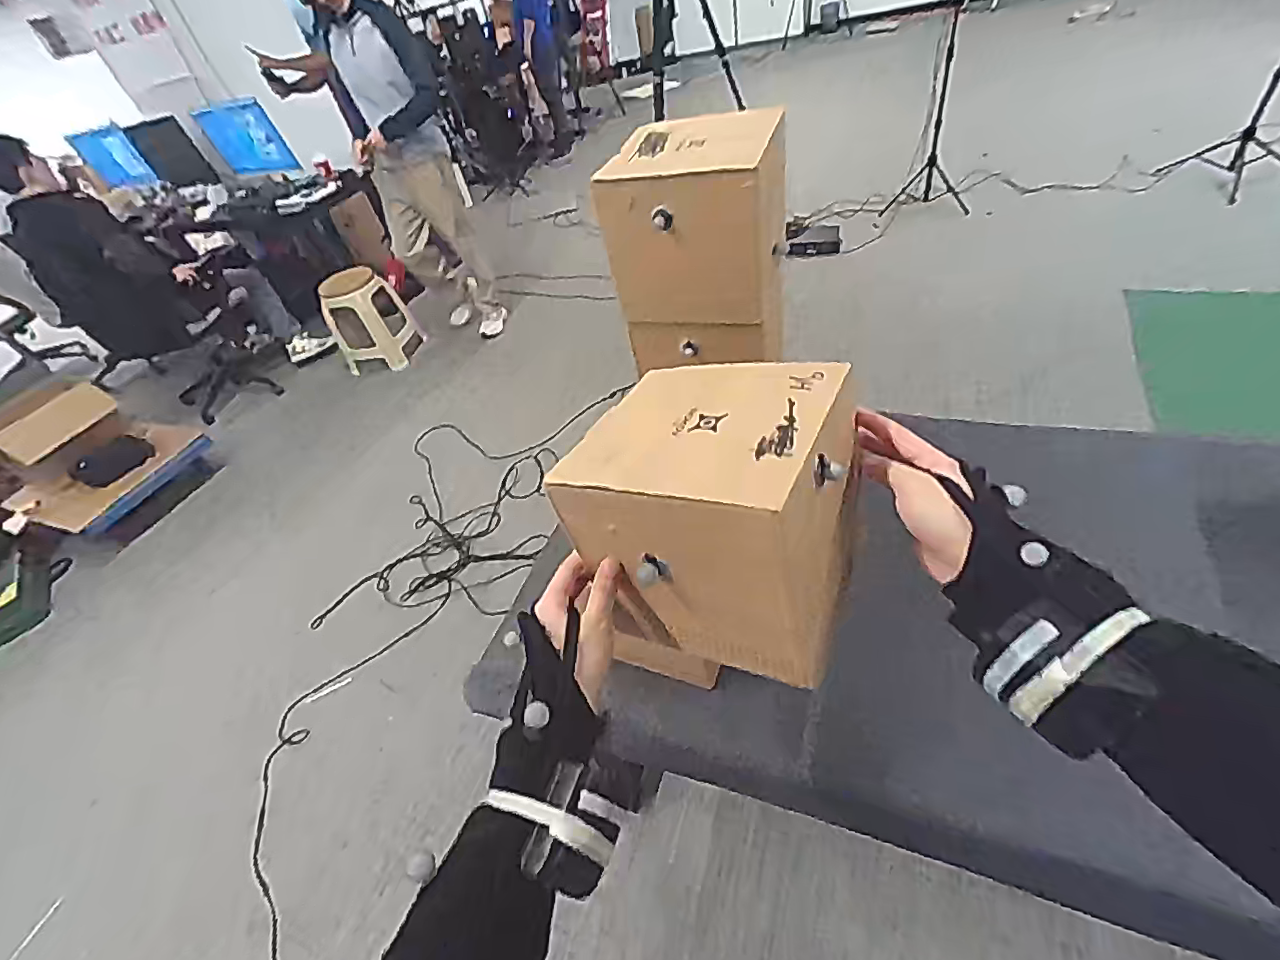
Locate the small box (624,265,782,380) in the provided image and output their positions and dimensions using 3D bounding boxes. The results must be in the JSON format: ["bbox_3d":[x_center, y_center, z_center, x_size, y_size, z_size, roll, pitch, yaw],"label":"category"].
[{"bbox_3d":[0.098,-0.201,0.752,0.179,0.176,0.168,6,51,19],"label":"small box"}]

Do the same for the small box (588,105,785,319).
[{"bbox_3d":[0.066,-0.304,0.628,0.179,0.176,0.168,8,51,20],"label":"small box"}]

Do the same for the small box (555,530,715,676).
[{"bbox_3d":[0.025,0.122,0.684,0.179,0.176,0.168,10,48,24],"label":"small box"}]

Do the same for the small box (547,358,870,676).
[{"bbox_3d":[0.066,0.022,0.420,0.179,0.176,0.168,6,42,34],"label":"small box"}]
